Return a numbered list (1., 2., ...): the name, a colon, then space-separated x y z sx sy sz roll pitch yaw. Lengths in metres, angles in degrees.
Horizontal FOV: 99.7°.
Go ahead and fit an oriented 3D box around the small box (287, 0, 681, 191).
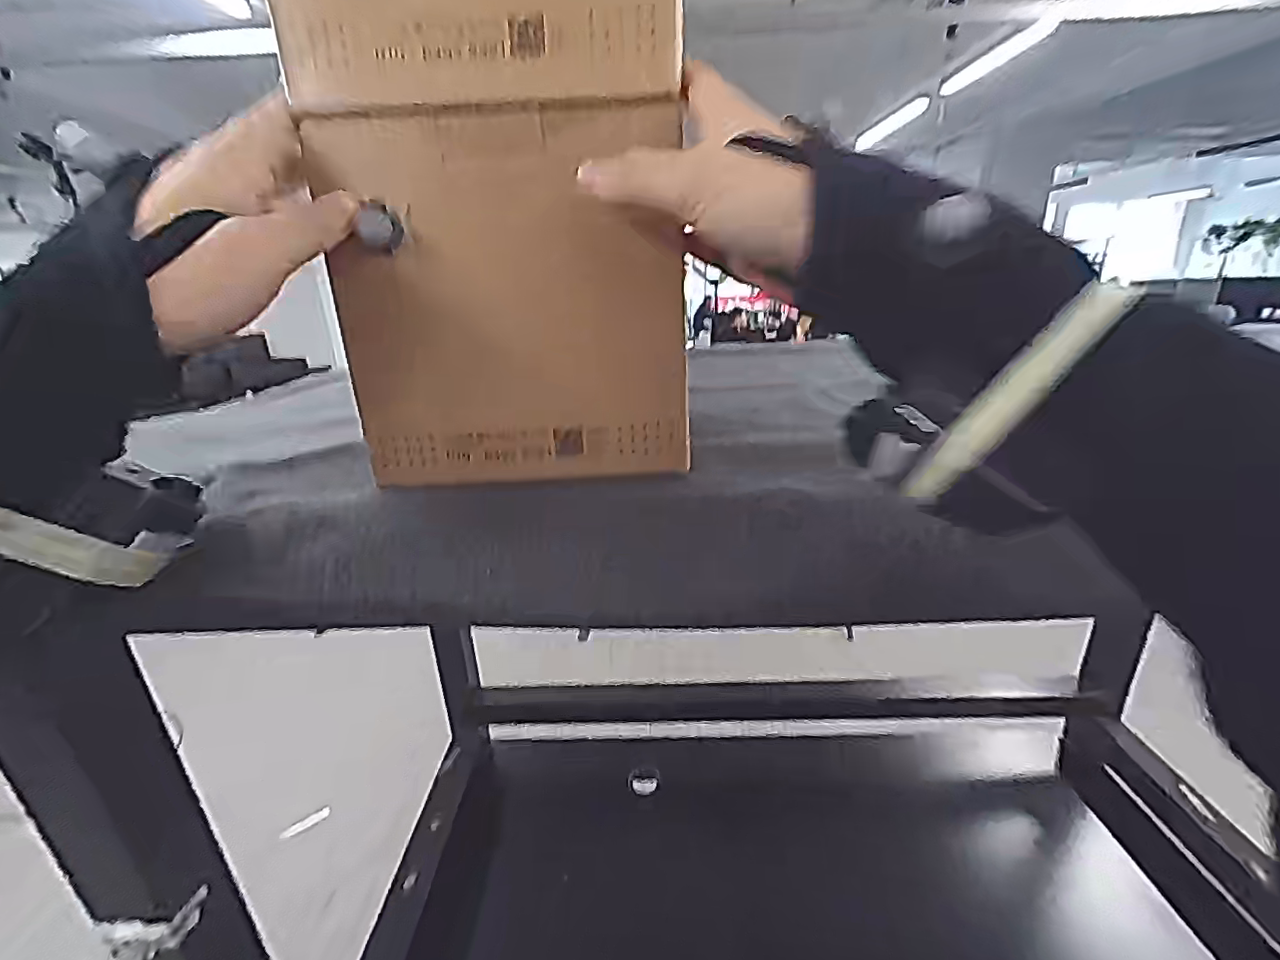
1. small box: -0.067 -0.261 0.278 0.168 0.176 0.179 -2 19 1
